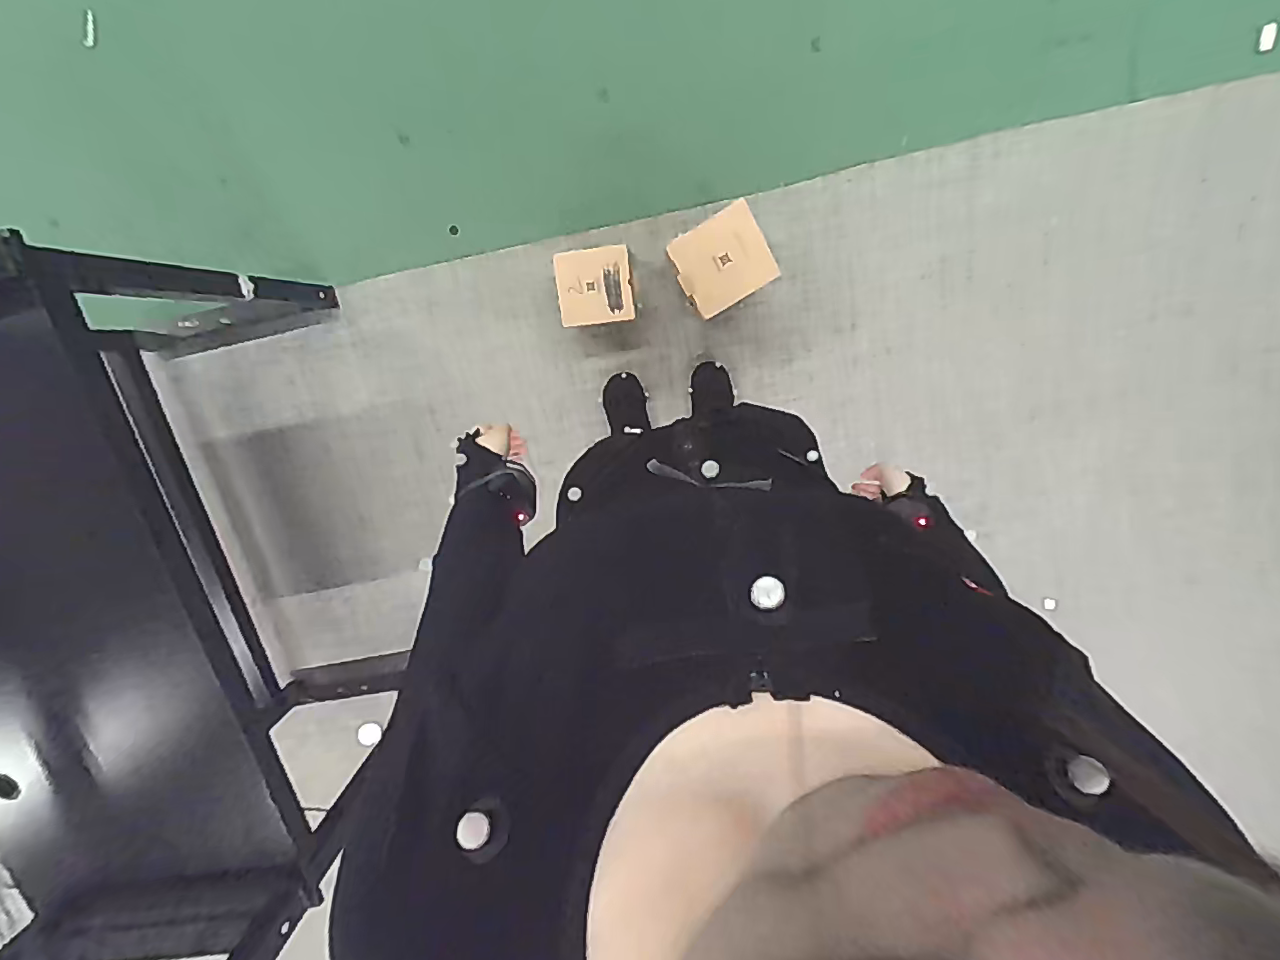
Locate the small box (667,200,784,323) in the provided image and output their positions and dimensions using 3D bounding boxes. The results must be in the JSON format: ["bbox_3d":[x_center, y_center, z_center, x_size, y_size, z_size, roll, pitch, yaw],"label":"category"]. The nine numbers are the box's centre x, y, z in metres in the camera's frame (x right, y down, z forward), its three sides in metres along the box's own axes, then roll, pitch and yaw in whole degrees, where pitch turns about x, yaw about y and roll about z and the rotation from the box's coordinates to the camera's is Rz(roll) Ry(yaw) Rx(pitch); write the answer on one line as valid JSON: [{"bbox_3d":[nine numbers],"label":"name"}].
[{"bbox_3d":[0.171,-0.442,1.124,0.179,0.176,0.168,-30,103,10],"label":"small box"}]
